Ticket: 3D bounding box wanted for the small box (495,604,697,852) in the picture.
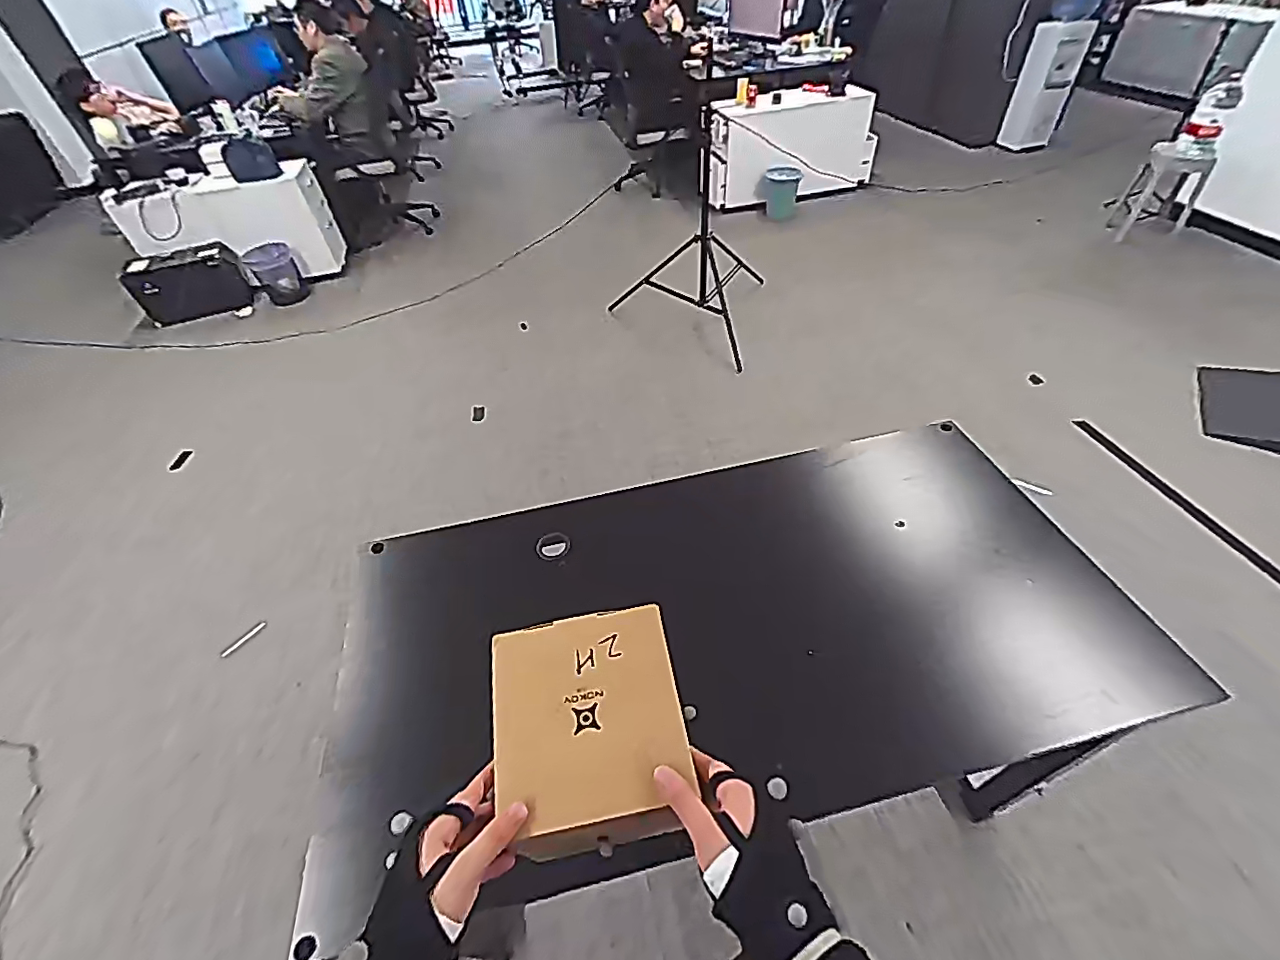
[{"bbox_3d":[-0.040,0.252,0.540,0.168,0.176,0.179,-11,50,-4],"label":"small box"}]
